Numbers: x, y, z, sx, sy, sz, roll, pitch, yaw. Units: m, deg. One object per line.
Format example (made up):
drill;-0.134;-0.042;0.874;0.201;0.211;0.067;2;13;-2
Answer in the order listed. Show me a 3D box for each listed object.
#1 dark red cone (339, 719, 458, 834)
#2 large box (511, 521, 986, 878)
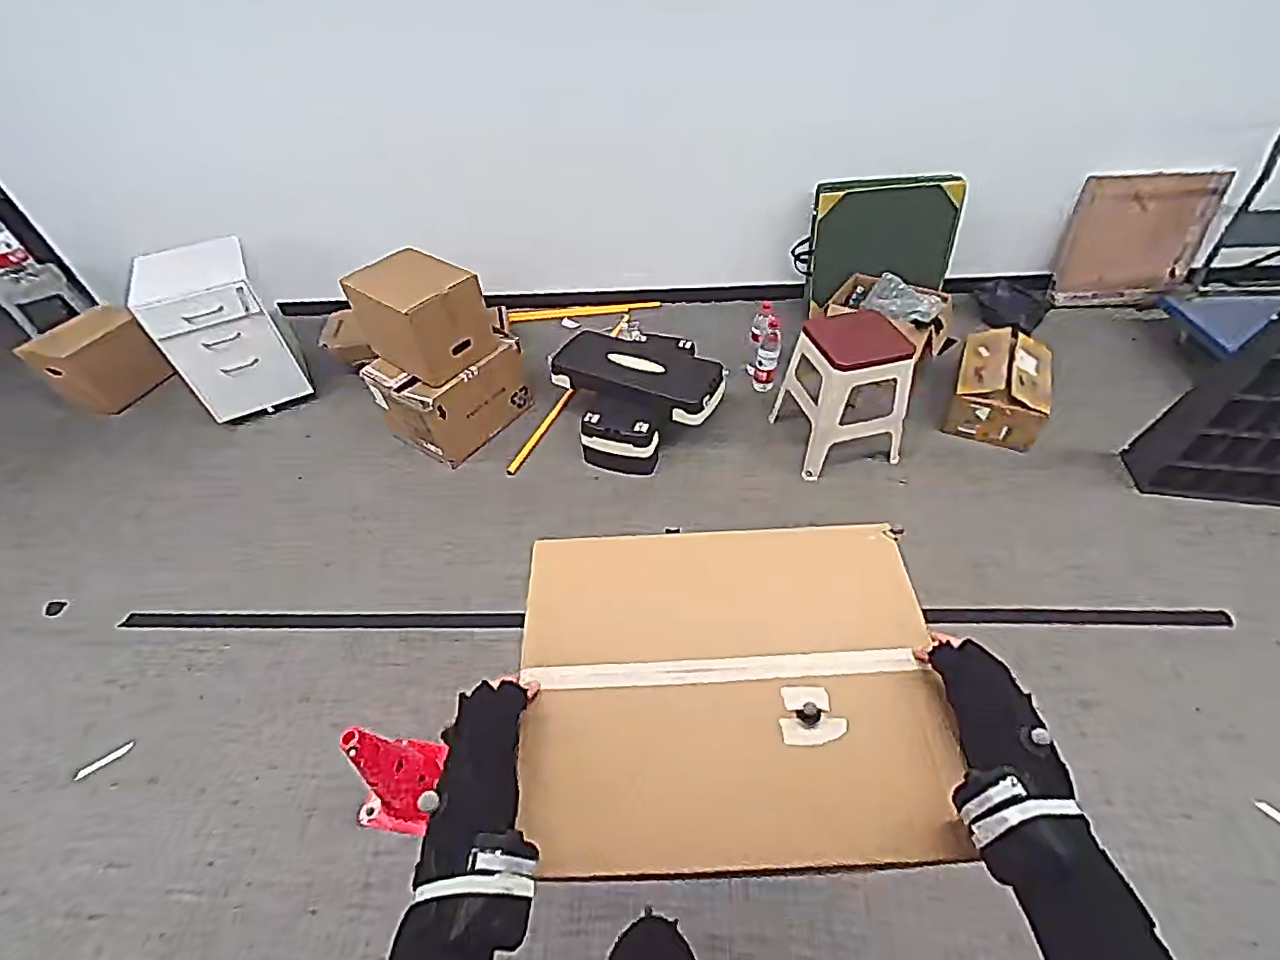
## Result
dark red cone;-0.576;0.633;1.215;0.201;0.394;0.202;4;47;7
large box;0.086;0.271;0.650;0.408;0.320;0.320;-3;53;0
